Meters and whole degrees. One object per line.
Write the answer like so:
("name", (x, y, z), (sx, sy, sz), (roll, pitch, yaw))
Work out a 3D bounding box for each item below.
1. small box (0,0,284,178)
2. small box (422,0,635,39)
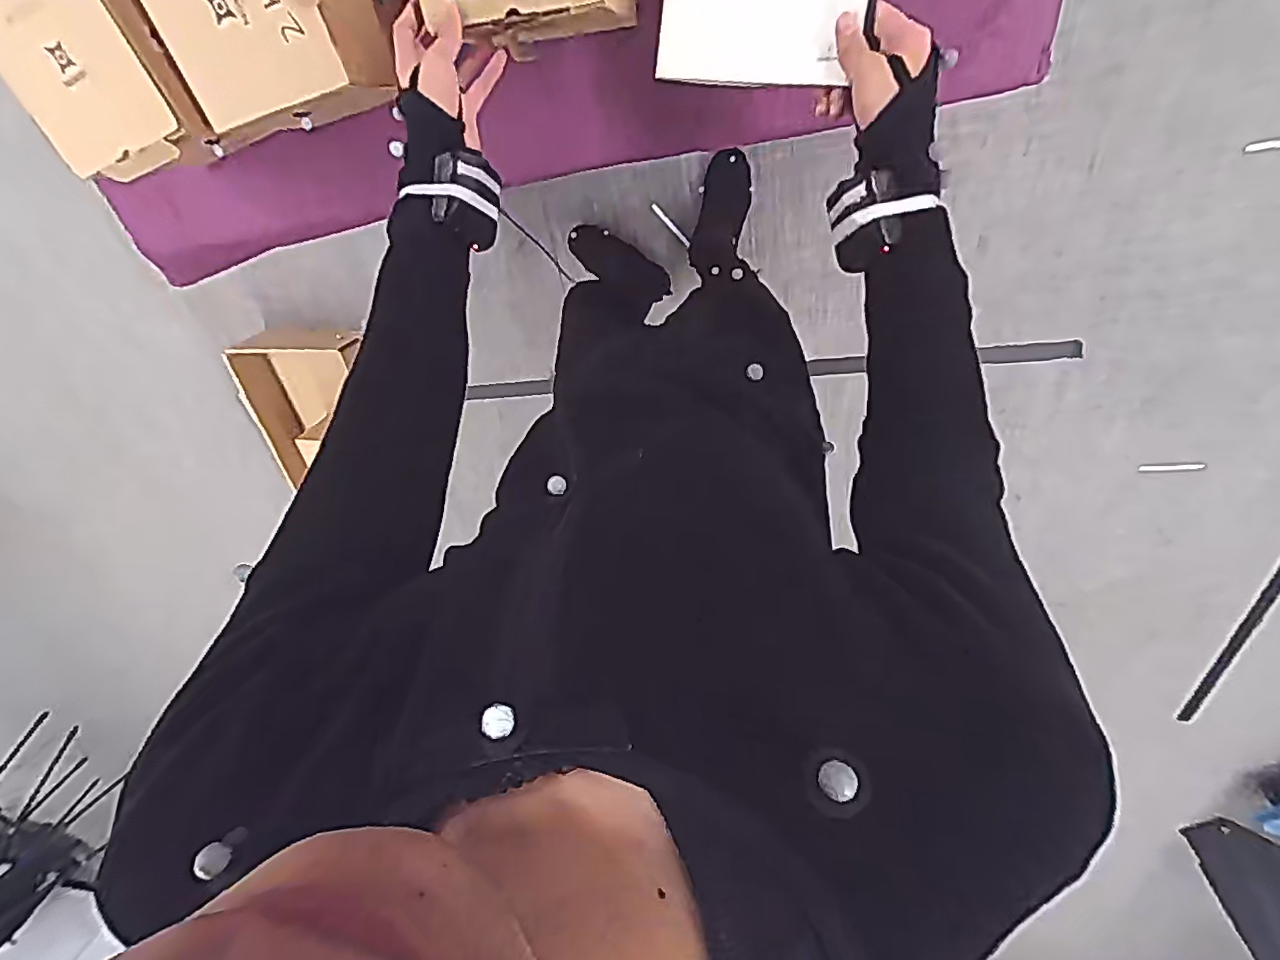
("small box", (-0.557, -0.468, 0.607), (0.168, 0.176, 0.179), (-10, 122, 17))
("small box", (-0.103, -0.515, 0.480), (0.168, 0.176, 0.179), (0, 124, 11))
